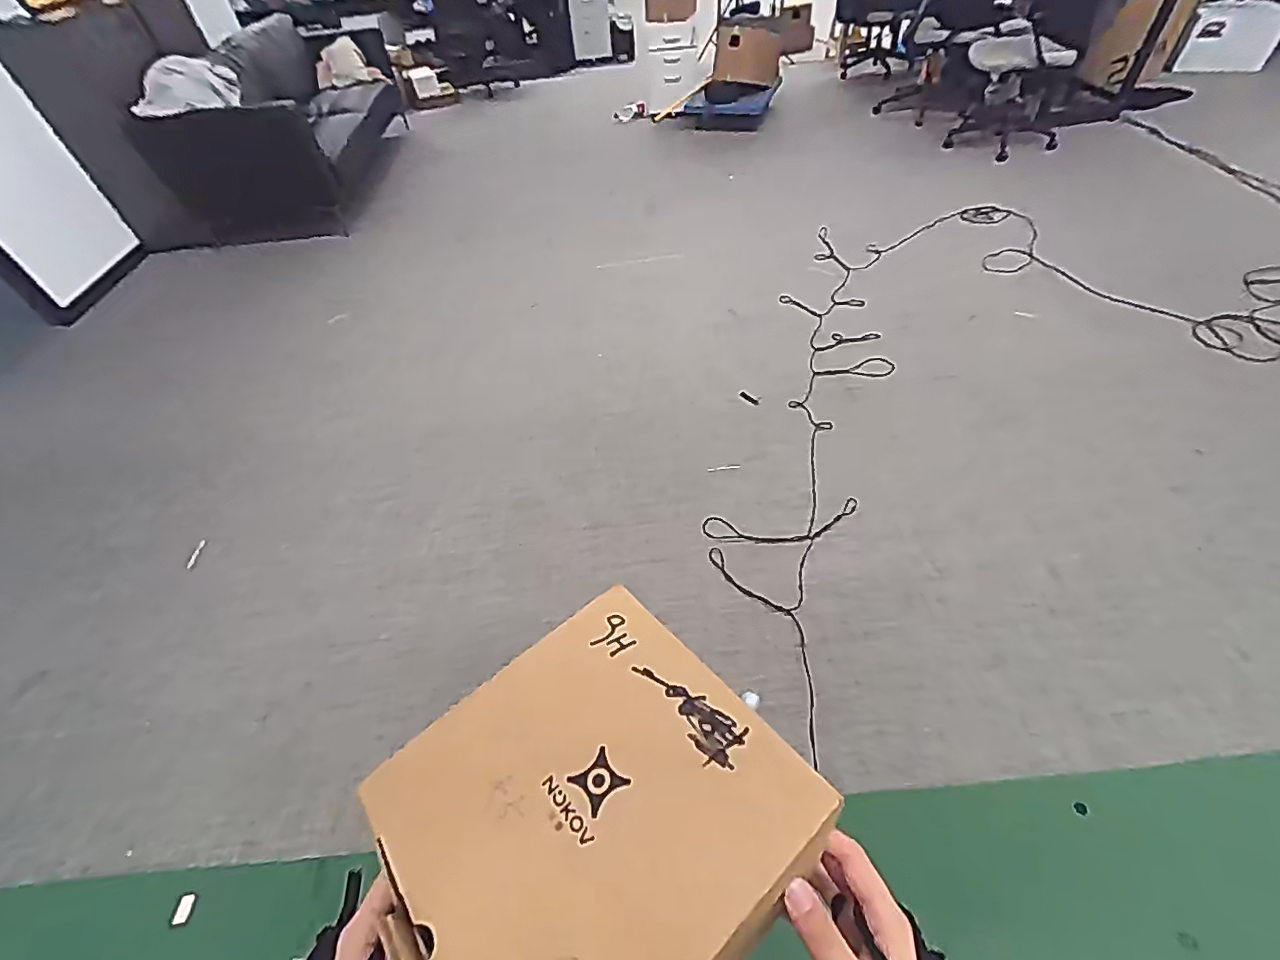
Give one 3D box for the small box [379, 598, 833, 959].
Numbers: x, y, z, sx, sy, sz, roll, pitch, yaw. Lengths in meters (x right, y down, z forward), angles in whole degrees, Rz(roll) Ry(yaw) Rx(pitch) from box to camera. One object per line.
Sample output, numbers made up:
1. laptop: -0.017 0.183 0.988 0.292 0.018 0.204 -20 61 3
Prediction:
1. small box: -0.011 0.215 0.322 0.179 0.176 0.168 -35 49 -23
